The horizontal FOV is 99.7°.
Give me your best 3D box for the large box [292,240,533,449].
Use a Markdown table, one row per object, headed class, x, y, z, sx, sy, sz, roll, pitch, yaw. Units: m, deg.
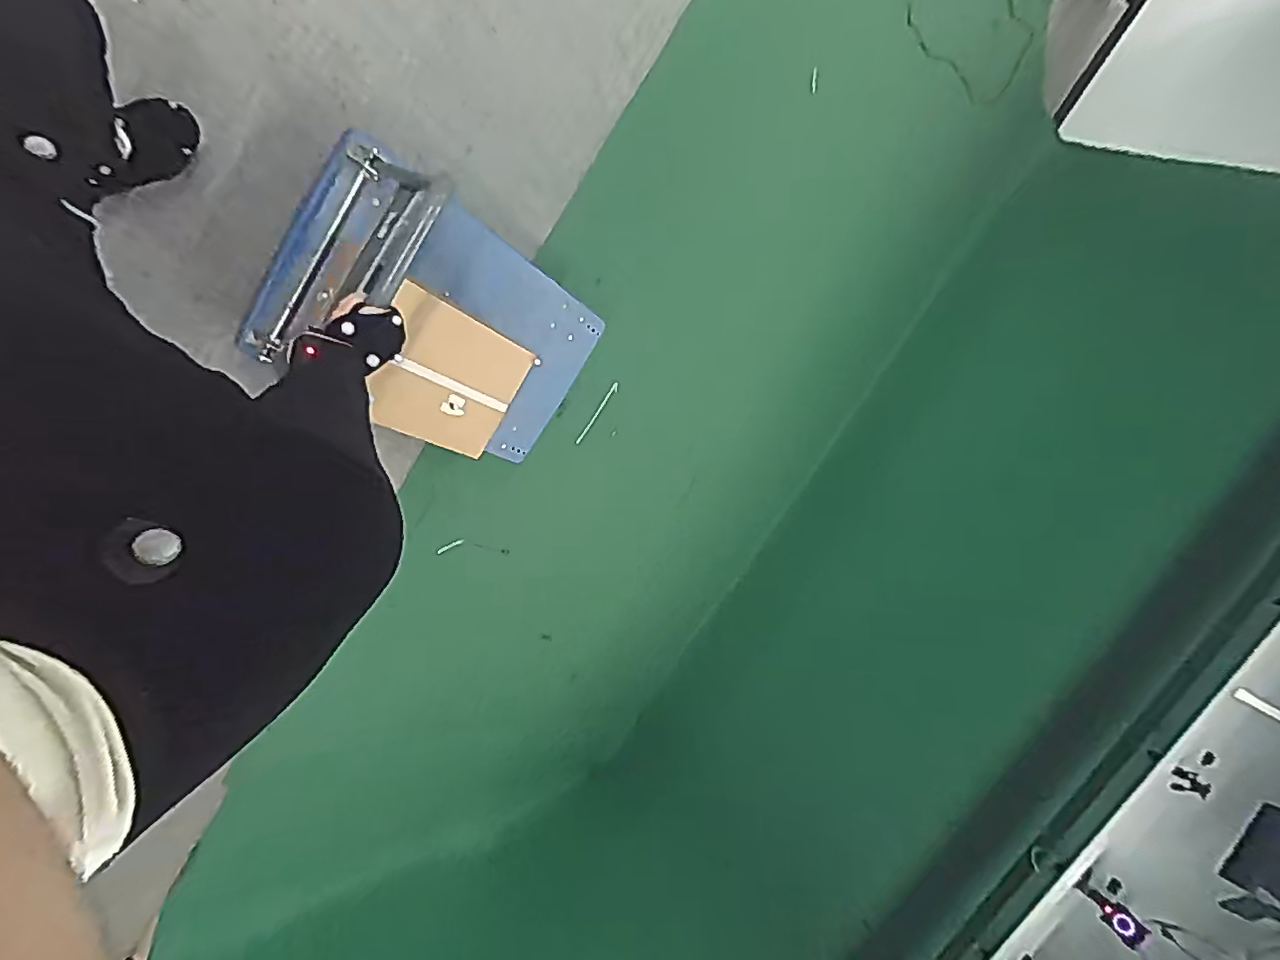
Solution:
| class | x | y | z | sx | sy | sz | roll | pitch | yaw |
| --- | --- | --- | --- | --- | --- | --- | --- | --- | --- |
| large box | -0.559 | -0.324 | 1.336 | 0.408 | 0.320 | 0.320 | 23 | 102 | -50 |
